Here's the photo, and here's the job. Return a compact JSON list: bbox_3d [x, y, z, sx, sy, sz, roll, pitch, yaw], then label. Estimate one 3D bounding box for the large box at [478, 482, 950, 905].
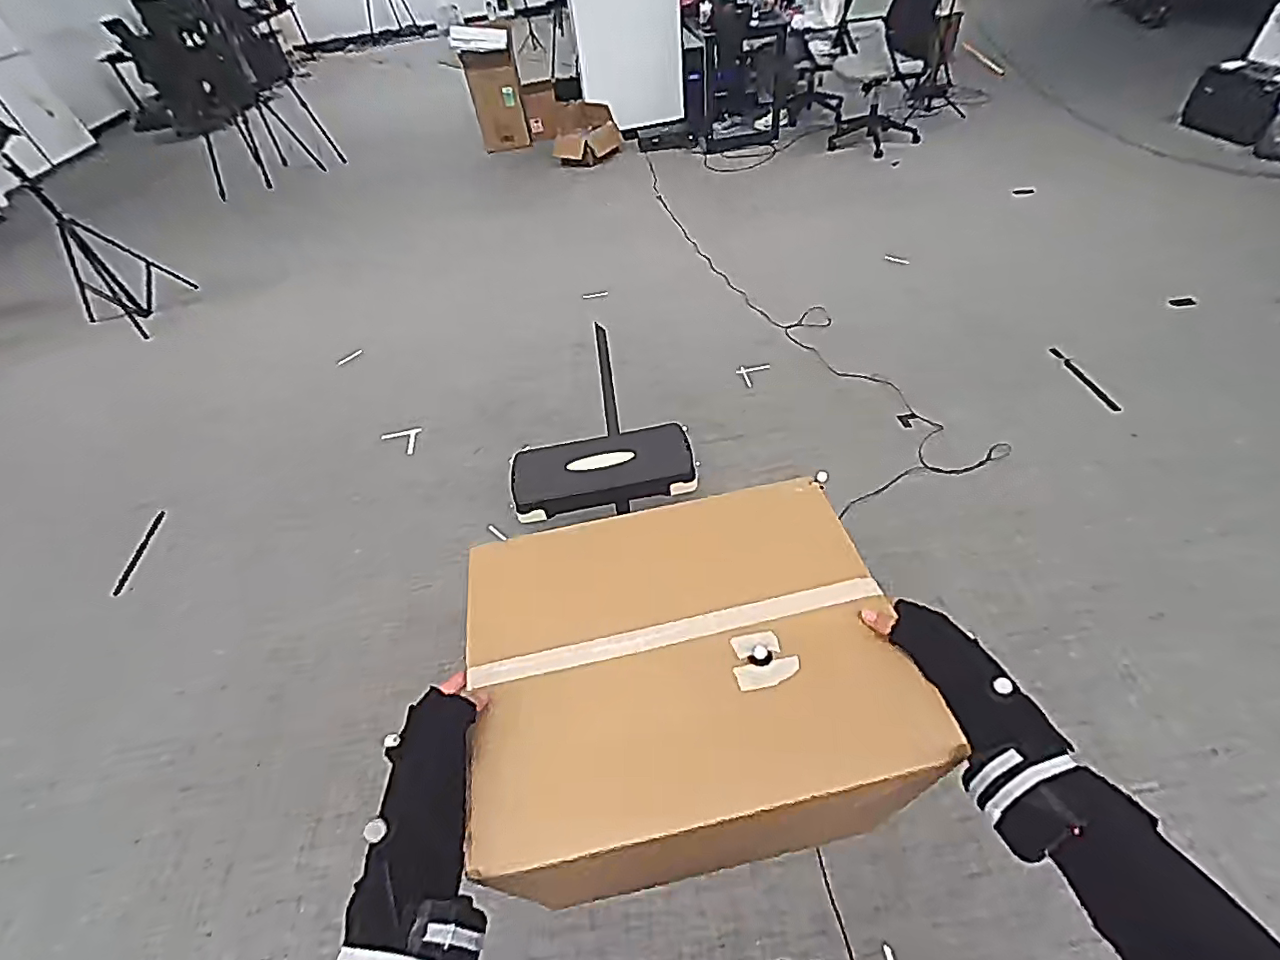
[{"bbox_3d":[0.049,0.251,0.641,0.408,0.320,0.320,-11,48,-4],"label":"large box"}]
